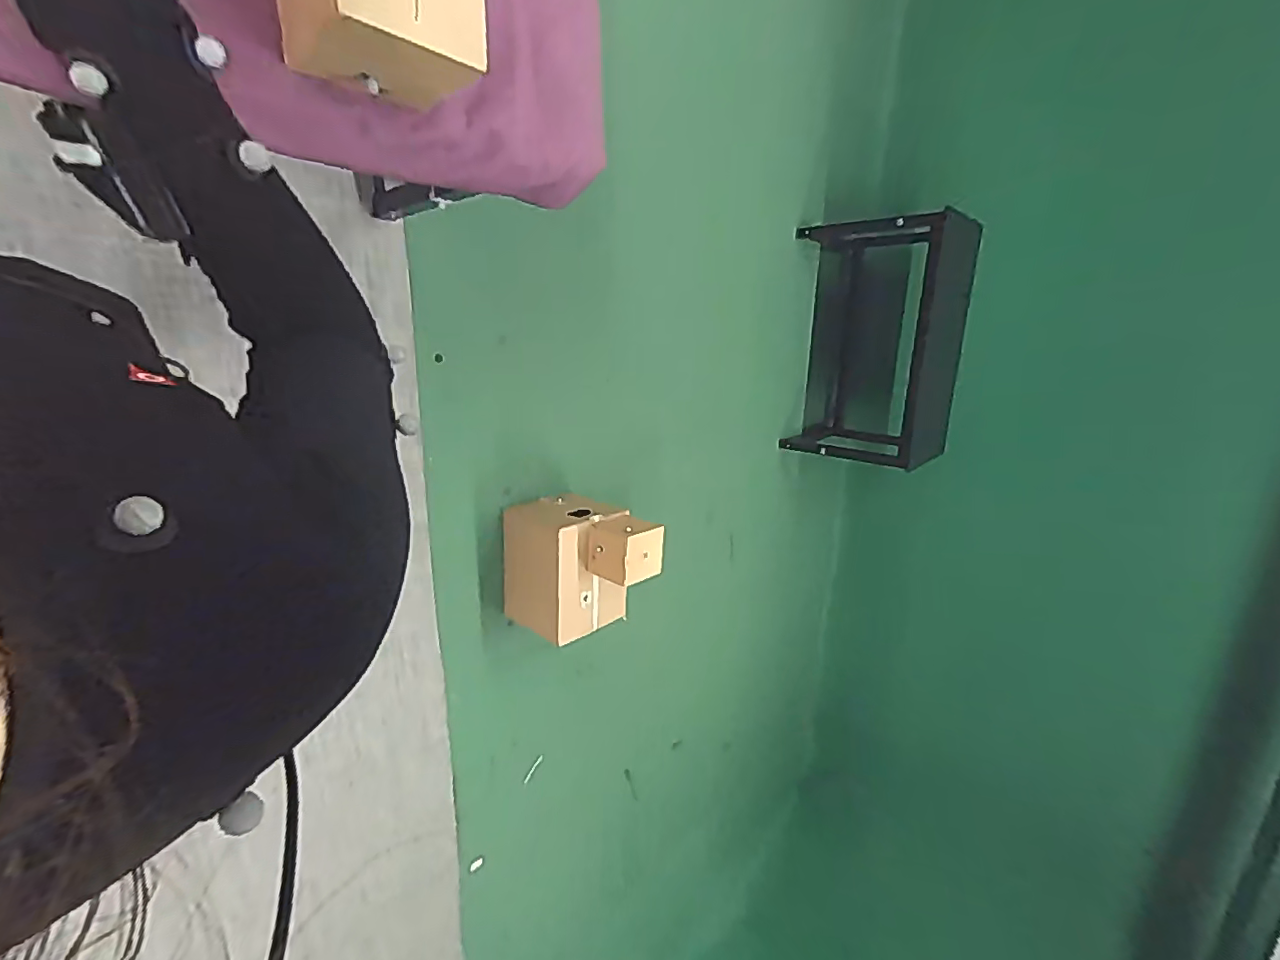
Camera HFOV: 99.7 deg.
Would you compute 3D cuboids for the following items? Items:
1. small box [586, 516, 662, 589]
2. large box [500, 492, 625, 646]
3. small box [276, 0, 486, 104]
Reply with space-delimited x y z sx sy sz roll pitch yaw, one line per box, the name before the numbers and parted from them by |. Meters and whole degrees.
small box | -0.053 0.224 1.736 0.179 0.176 0.168 -12 111 -46
large box | -0.270 0.288 1.883 0.320 0.320 0.408 -12 111 -45
small box | -0.290 -0.558 0.598 0.168 0.176 0.179 -14 112 -46
